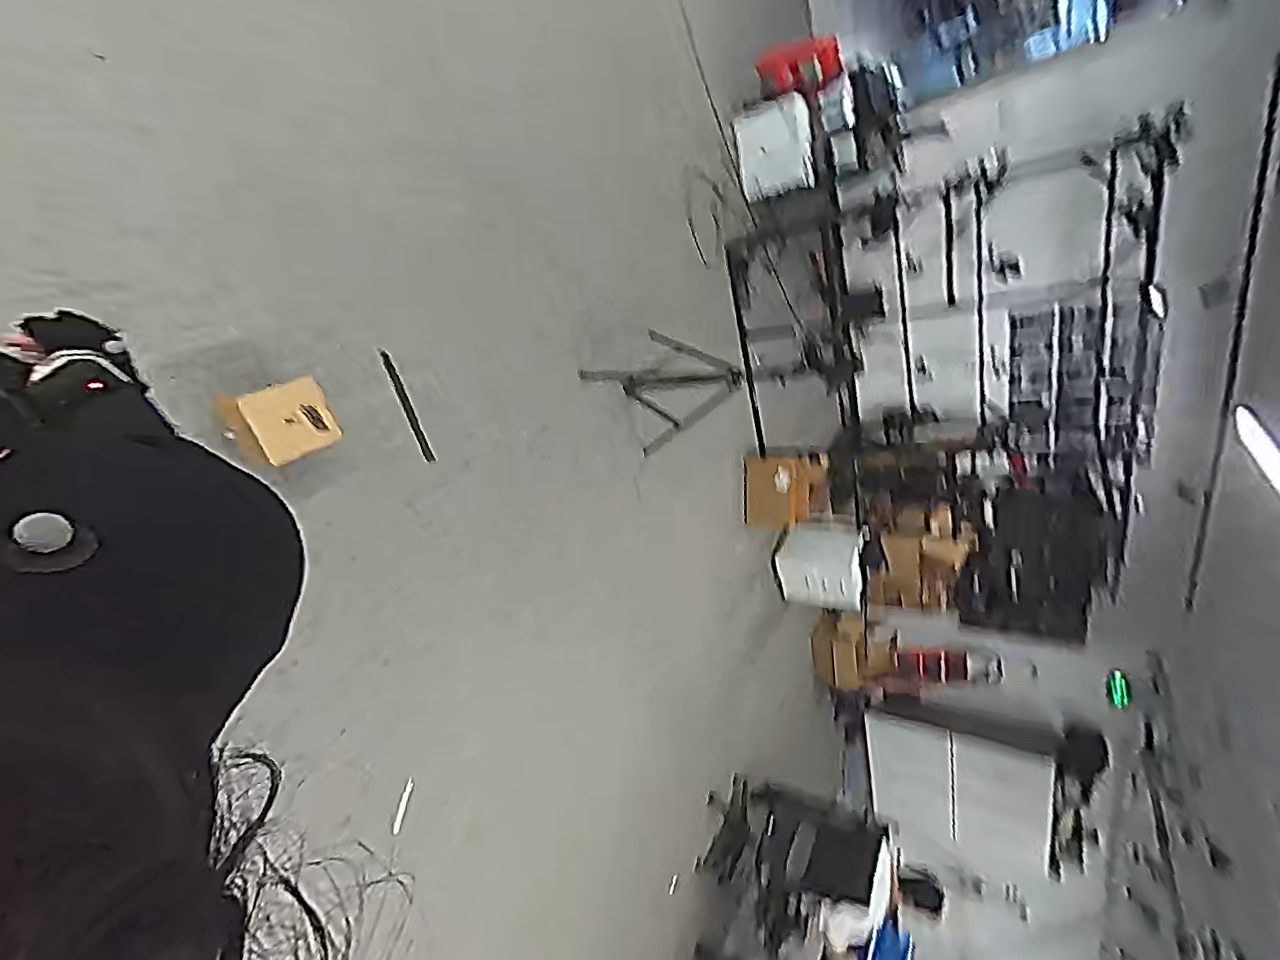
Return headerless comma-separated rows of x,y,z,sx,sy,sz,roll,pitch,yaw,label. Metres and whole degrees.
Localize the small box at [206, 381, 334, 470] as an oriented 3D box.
-0.896,-0.136,1.313,0.179,0.176,0.168,-39,122,-46,small box
